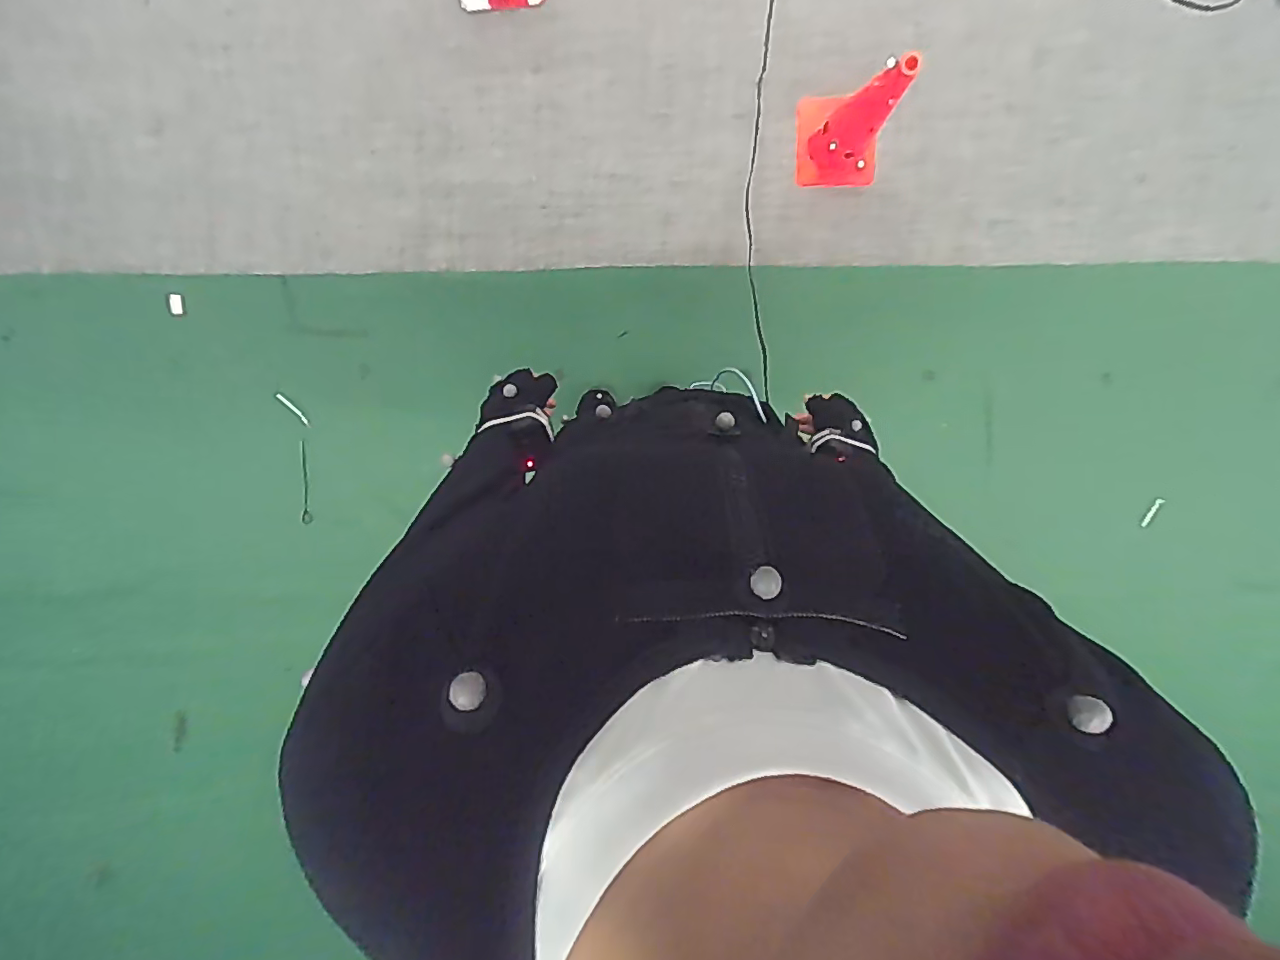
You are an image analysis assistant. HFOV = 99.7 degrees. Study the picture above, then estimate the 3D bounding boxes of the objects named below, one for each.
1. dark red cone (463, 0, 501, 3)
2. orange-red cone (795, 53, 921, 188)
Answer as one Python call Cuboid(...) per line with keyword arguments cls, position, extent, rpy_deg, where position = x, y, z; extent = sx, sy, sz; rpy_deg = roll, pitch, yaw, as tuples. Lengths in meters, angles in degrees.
Cuboid(cls="dark red cone", position=(-0.321, -1.154, 1.051), extent=(0.202, 0.394, 0.201), rpy_deg=(-7, 102, 0))
Cuboid(cls="orange-red cone", position=(0.491, -0.801, 1.166), extent=(0.198, 0.360, 0.199), rpy_deg=(-1, 100, -2))
